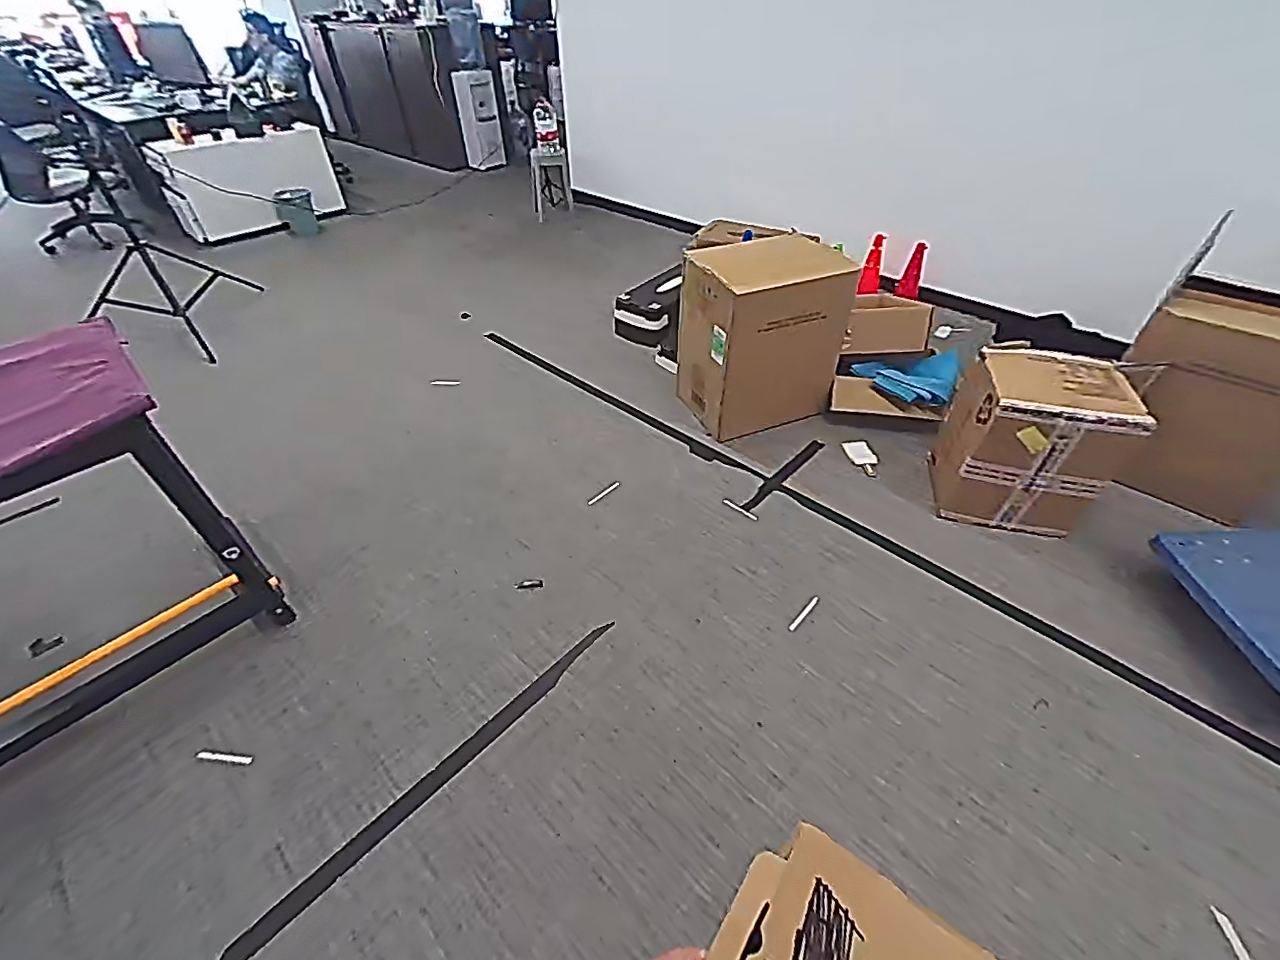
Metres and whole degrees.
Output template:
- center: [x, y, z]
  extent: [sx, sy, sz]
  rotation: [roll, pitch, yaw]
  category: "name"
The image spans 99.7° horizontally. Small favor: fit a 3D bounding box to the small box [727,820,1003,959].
- center: [0.140, 0.383, 0.365]
  extent: [0.179, 0.176, 0.168]
  rotation: [27, 51, 25]
  category: "small box"
